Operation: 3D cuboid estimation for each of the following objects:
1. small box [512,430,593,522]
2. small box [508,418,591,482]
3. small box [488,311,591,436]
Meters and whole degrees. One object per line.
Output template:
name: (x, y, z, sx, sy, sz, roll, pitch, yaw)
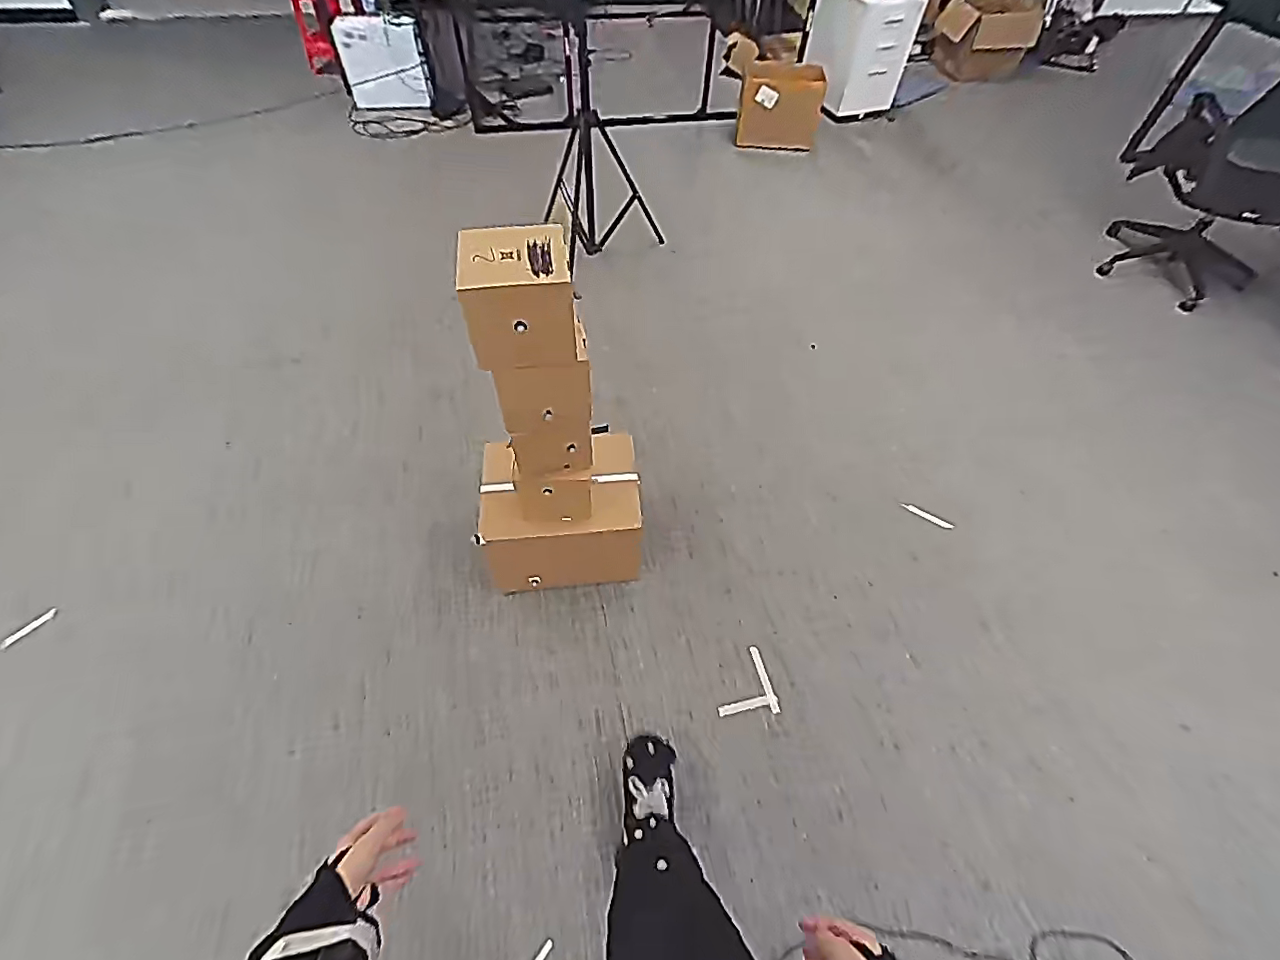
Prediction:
small box: (-0.207, -0.007, 1.323, 0.179, 0.176, 0.168, -1, 55, -4)
small box: (-0.209, -0.113, 1.200, 0.168, 0.176, 0.179, -14, 55, -13)
small box: (-0.195, -0.207, 1.066, 0.179, 0.176, 0.168, -9, 55, -10)
